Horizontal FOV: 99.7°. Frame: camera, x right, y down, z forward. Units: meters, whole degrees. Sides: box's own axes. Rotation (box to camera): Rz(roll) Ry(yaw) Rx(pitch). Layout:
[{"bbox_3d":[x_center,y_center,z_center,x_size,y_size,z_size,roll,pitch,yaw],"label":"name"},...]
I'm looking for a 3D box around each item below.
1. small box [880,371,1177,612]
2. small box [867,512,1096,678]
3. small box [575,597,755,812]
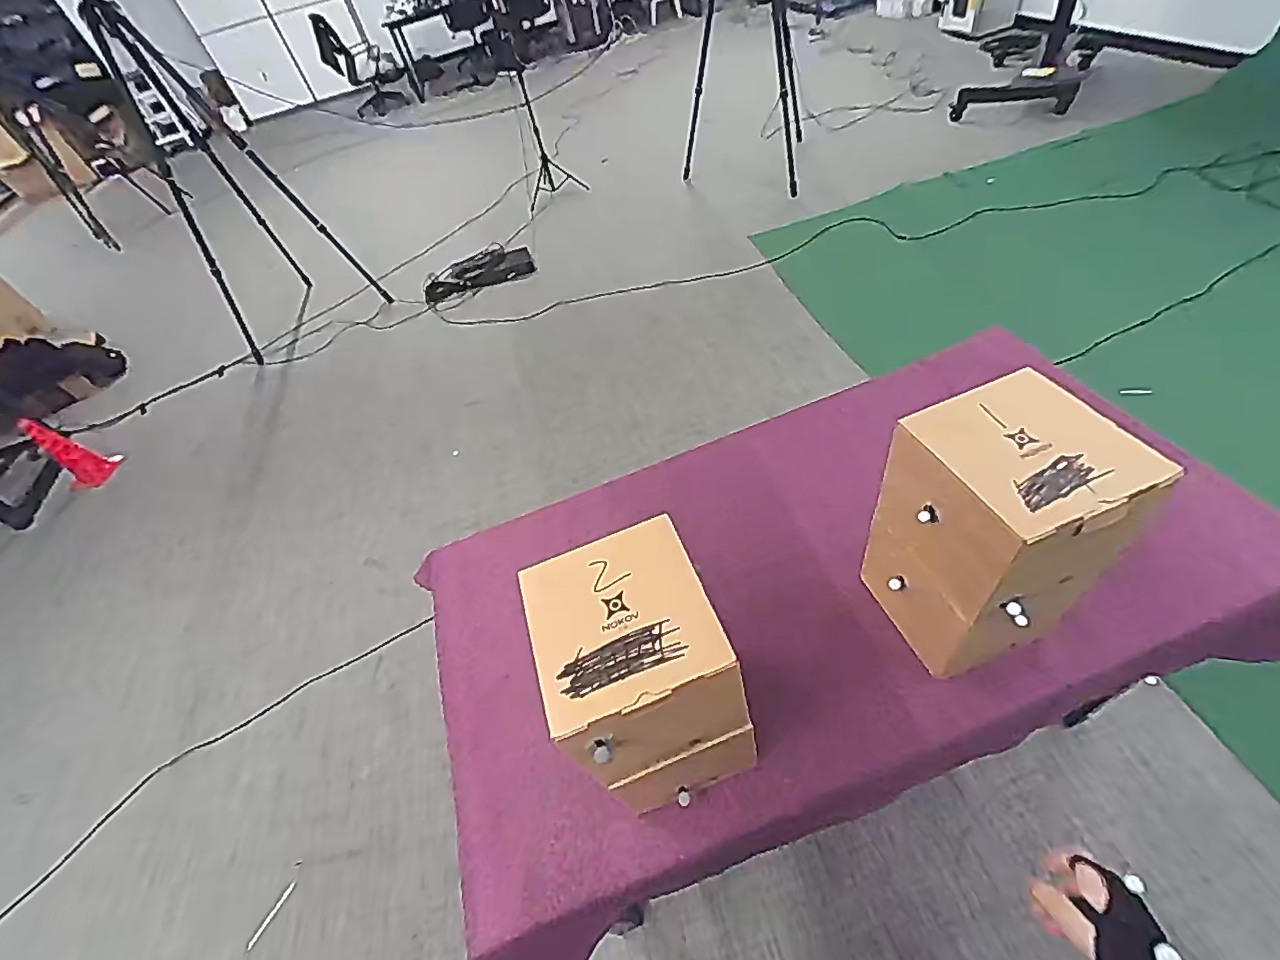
[{"bbox_3d":[0.390,0.020,0.586,0.168,0.176,0.179,-22,48,-5],"label":"small box"},{"bbox_3d":[0.421,0.125,0.709,0.168,0.176,0.179,-22,48,-3],"label":"small box"},{"bbox_3d":[0.033,0.283,0.679,0.168,0.176,0.179,-21,50,-3],"label":"small box"}]
